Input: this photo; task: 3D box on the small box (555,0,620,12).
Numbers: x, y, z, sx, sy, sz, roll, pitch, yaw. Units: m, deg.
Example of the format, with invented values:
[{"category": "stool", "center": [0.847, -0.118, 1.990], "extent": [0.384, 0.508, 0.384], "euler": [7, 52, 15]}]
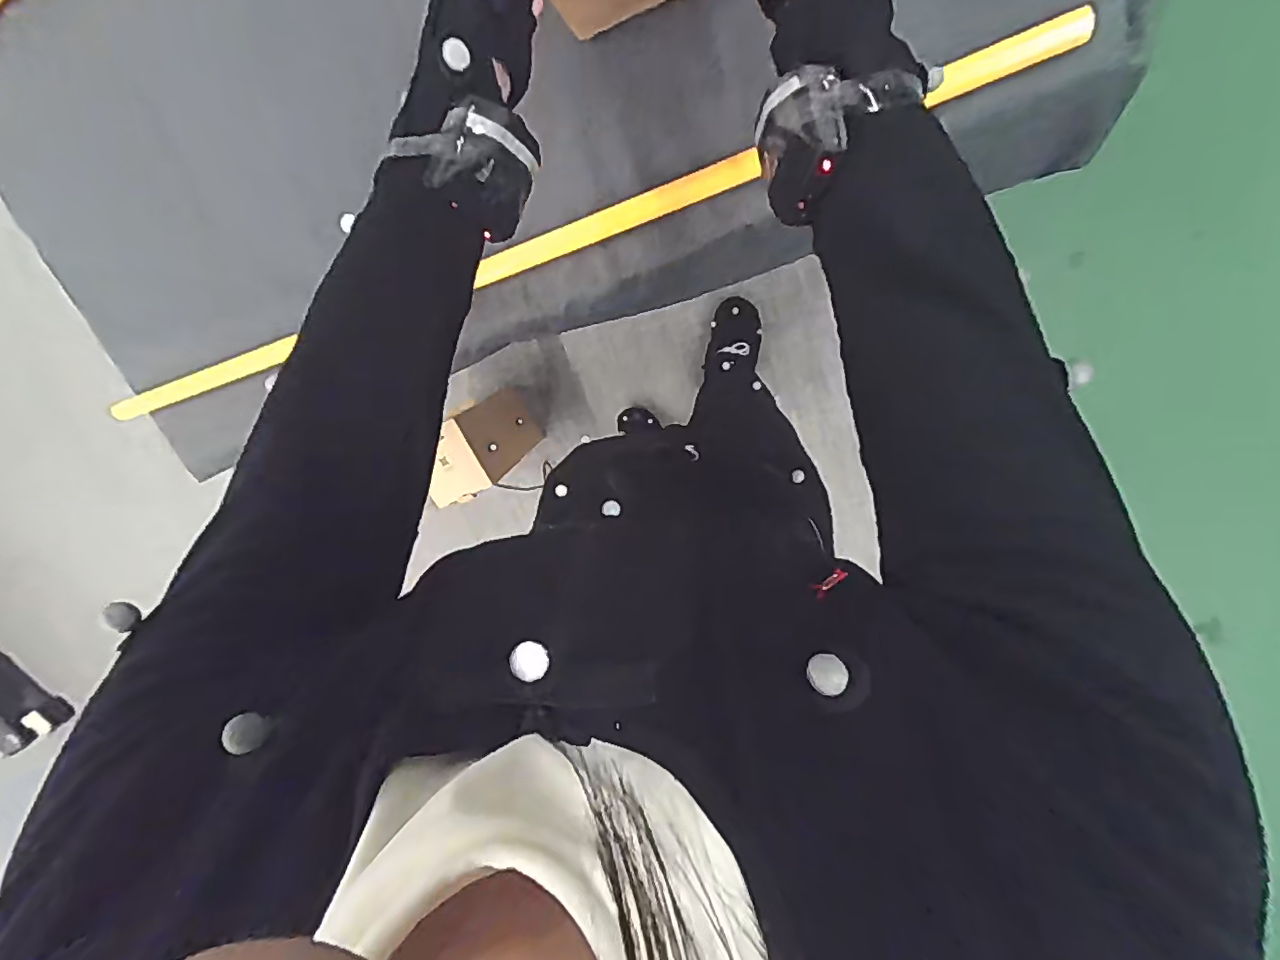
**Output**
[{"category": "small box", "center": [-0.025, -0.482, 0.382], "extent": [0.168, 0.176, 0.179], "euler": [-13, 107, 14]}]

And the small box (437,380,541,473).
[{"category": "small box", "center": [-0.392, -0.150, 1.434], "extent": [0.168, 0.176, 0.179], "euler": [-23, 107, 21]}]
